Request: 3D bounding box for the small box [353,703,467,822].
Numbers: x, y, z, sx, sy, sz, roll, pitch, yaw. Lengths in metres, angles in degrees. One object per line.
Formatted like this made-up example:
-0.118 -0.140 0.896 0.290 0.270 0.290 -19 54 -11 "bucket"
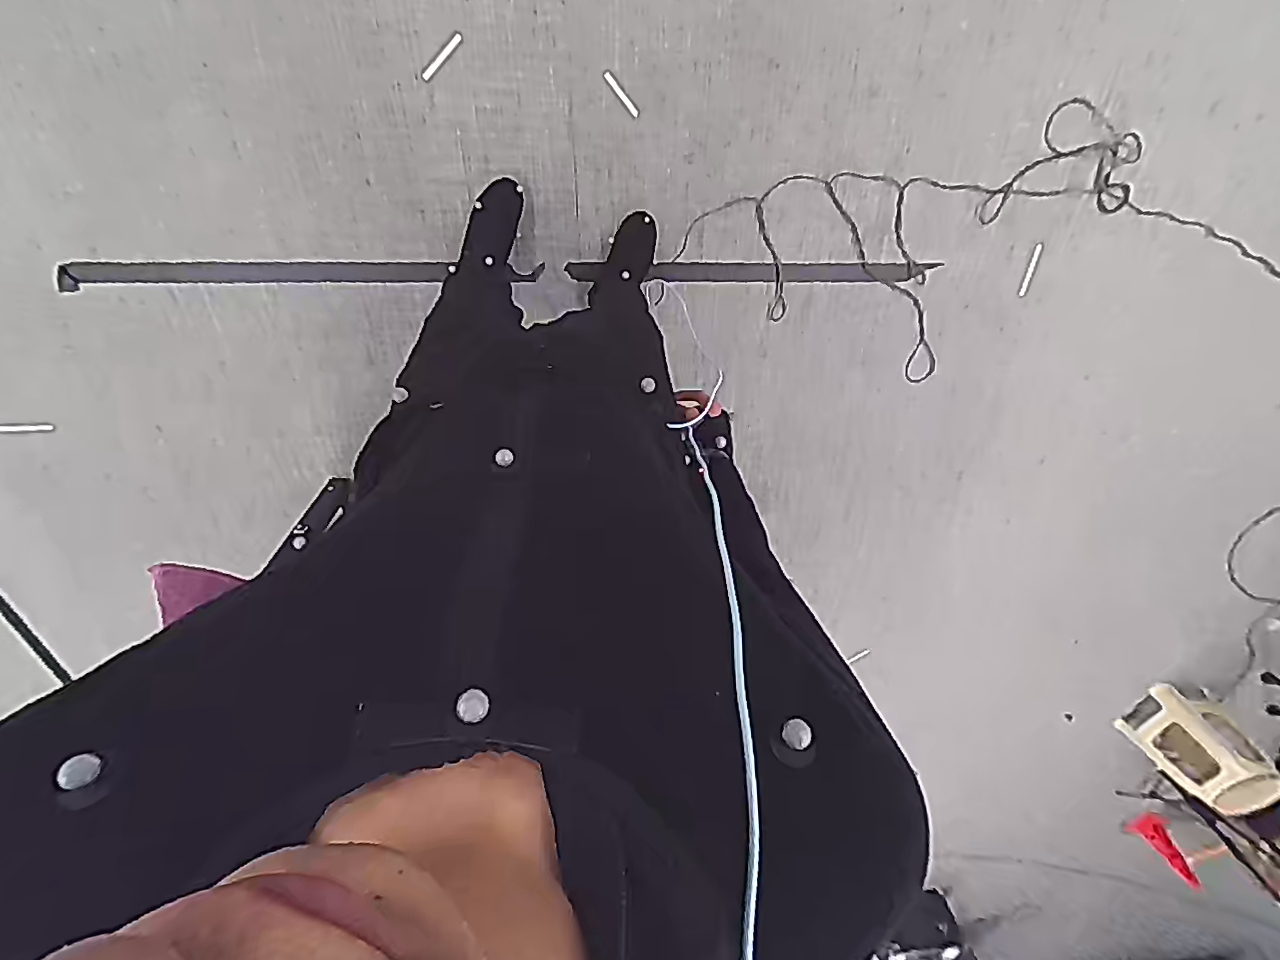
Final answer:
-0.482 0.601 1.161 0.179 0.176 0.168 0 122 -6 "small box"
